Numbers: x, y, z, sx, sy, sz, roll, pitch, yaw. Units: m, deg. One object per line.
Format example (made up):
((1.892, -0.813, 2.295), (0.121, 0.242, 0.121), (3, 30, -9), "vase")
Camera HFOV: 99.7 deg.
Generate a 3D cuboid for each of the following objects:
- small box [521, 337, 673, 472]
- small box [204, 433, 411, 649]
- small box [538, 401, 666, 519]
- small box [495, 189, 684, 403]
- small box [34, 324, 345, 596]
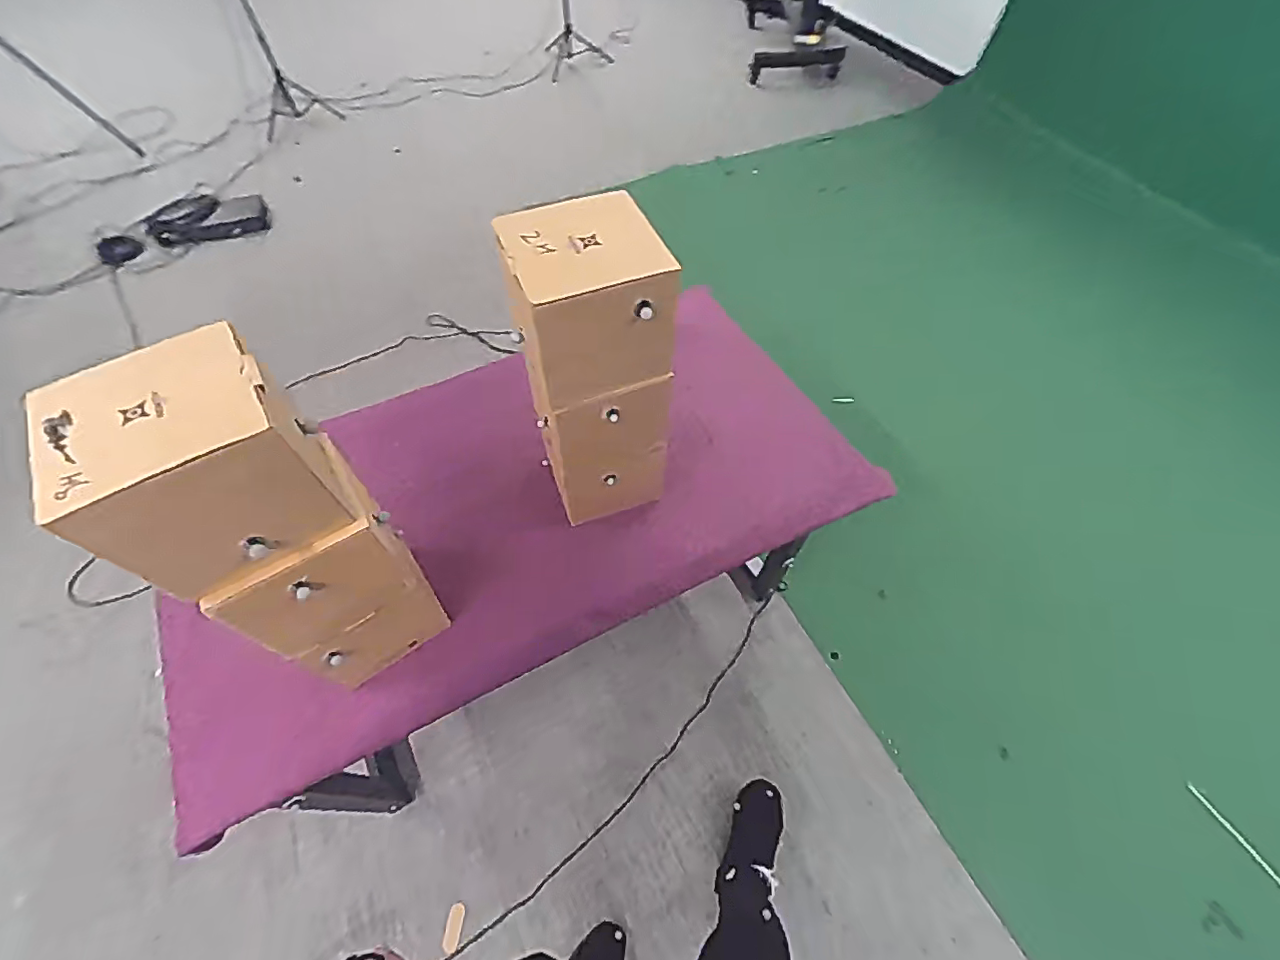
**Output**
((-0.063, -0.136, 0.816), (0.179, 0.176, 0.168), (-18, 61, -12), "small box")
((-0.410, 0.080, 0.673), (0.179, 0.176, 0.168), (-31, 62, -18), "small box")
((-0.066, -0.053, 0.956), (0.179, 0.176, 0.168), (-17, 60, -12), "small box")
((-0.063, -0.225, 0.678), (0.179, 0.176, 0.168), (-19, 61, -12), "small box")
((-0.425, -0.016, 0.540), (0.179, 0.176, 0.168), (-29, 61, -18), "small box")
